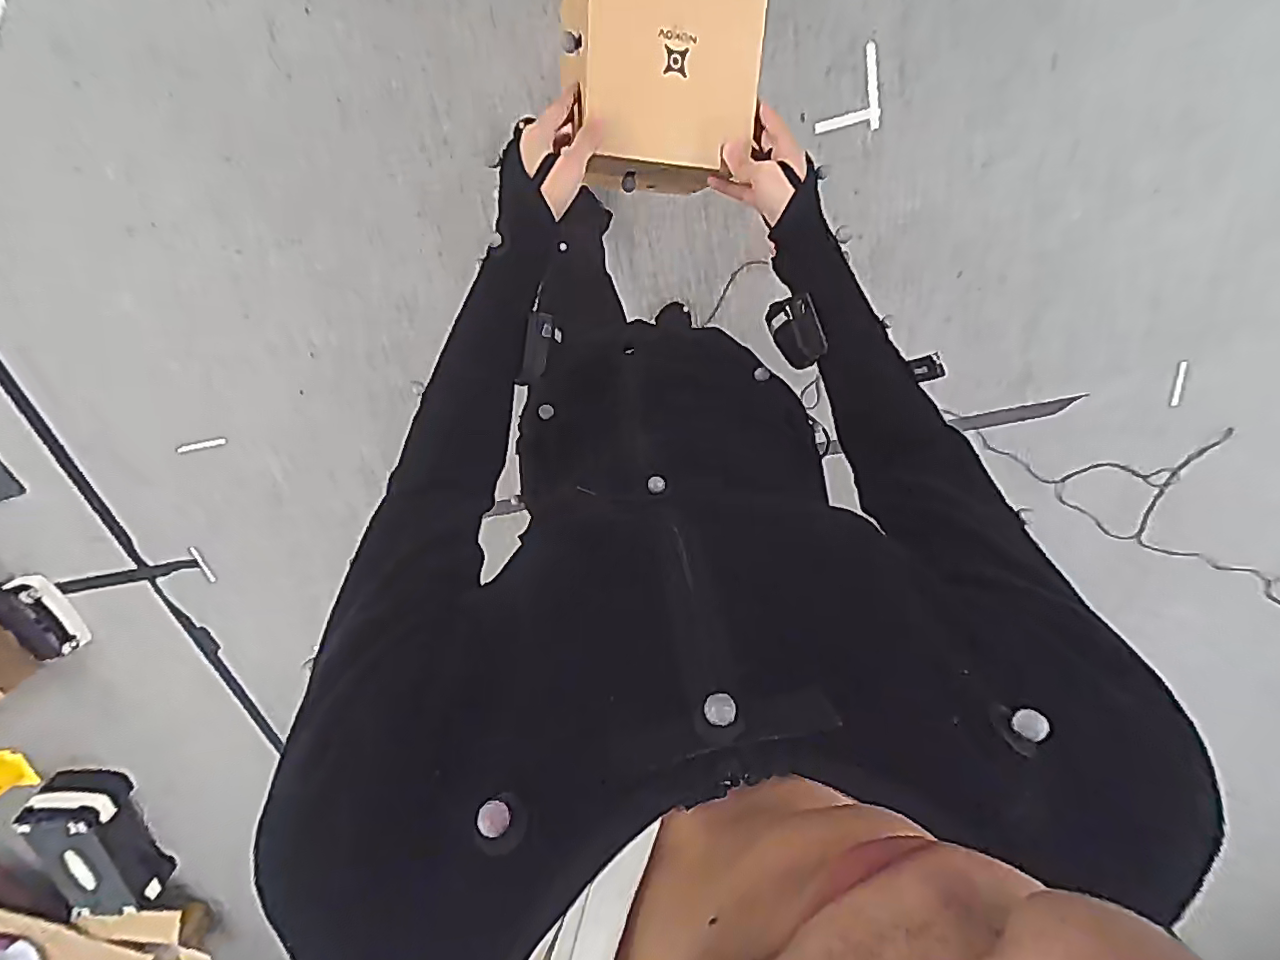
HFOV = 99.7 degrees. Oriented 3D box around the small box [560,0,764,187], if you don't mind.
[{"bbox_3d":[0.010,-0.414,0.553,0.168,0.176,0.179,-2,109,-15],"label":"small box"}]
